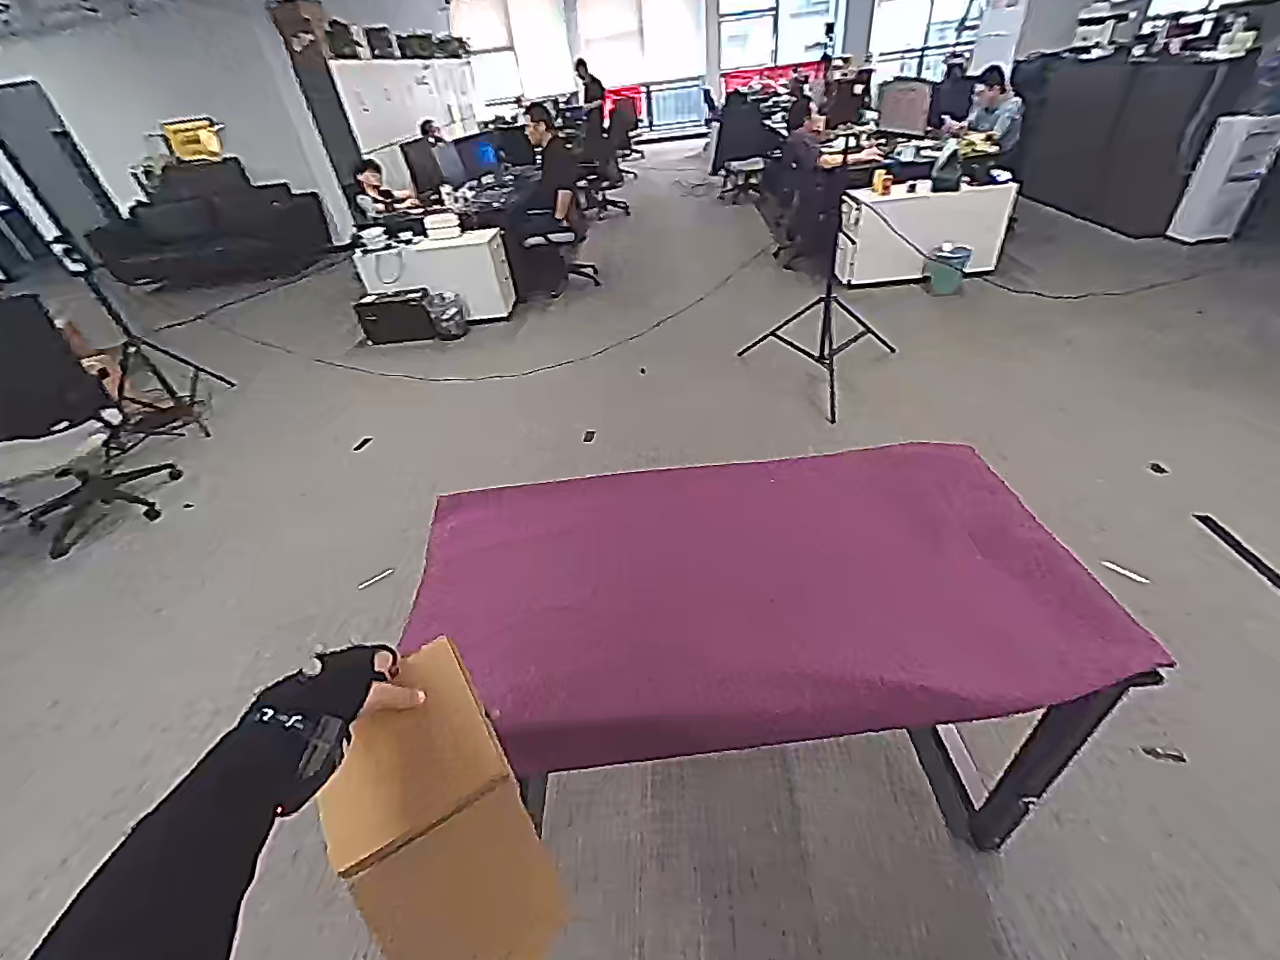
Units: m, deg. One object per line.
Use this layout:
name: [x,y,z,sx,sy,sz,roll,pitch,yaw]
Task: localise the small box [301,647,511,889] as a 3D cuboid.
small box: [-0.258,0.331,0.627,0.168,0.176,0.179,-22,59,-24]
